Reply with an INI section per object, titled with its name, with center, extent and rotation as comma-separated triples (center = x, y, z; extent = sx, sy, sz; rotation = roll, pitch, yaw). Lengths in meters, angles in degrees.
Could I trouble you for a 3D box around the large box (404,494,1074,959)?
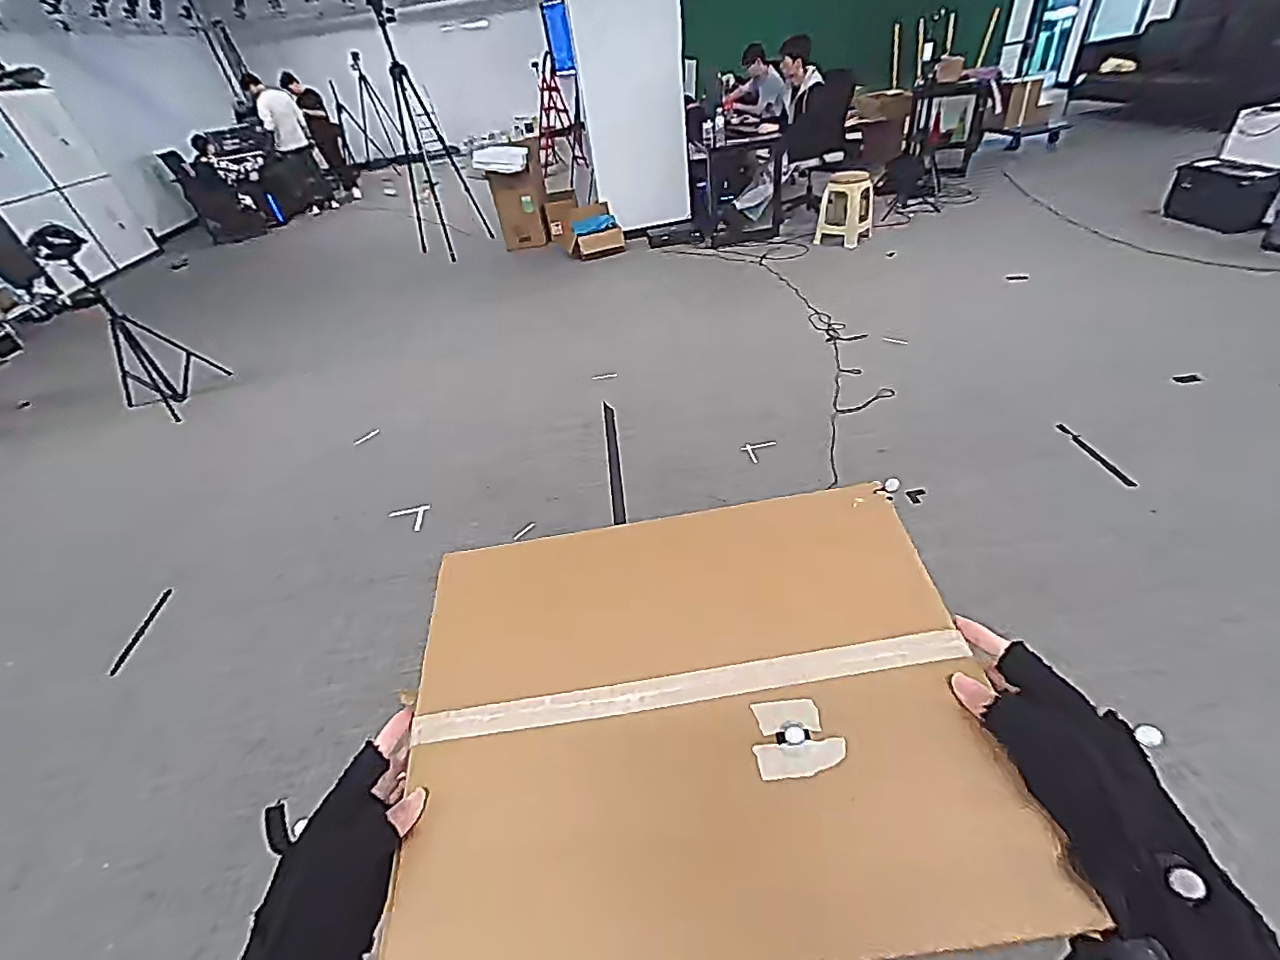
[large box]
center = 0.055, 0.255, 0.518
extent = 0.408, 0.320, 0.320
rotation = -9, 49, 1
